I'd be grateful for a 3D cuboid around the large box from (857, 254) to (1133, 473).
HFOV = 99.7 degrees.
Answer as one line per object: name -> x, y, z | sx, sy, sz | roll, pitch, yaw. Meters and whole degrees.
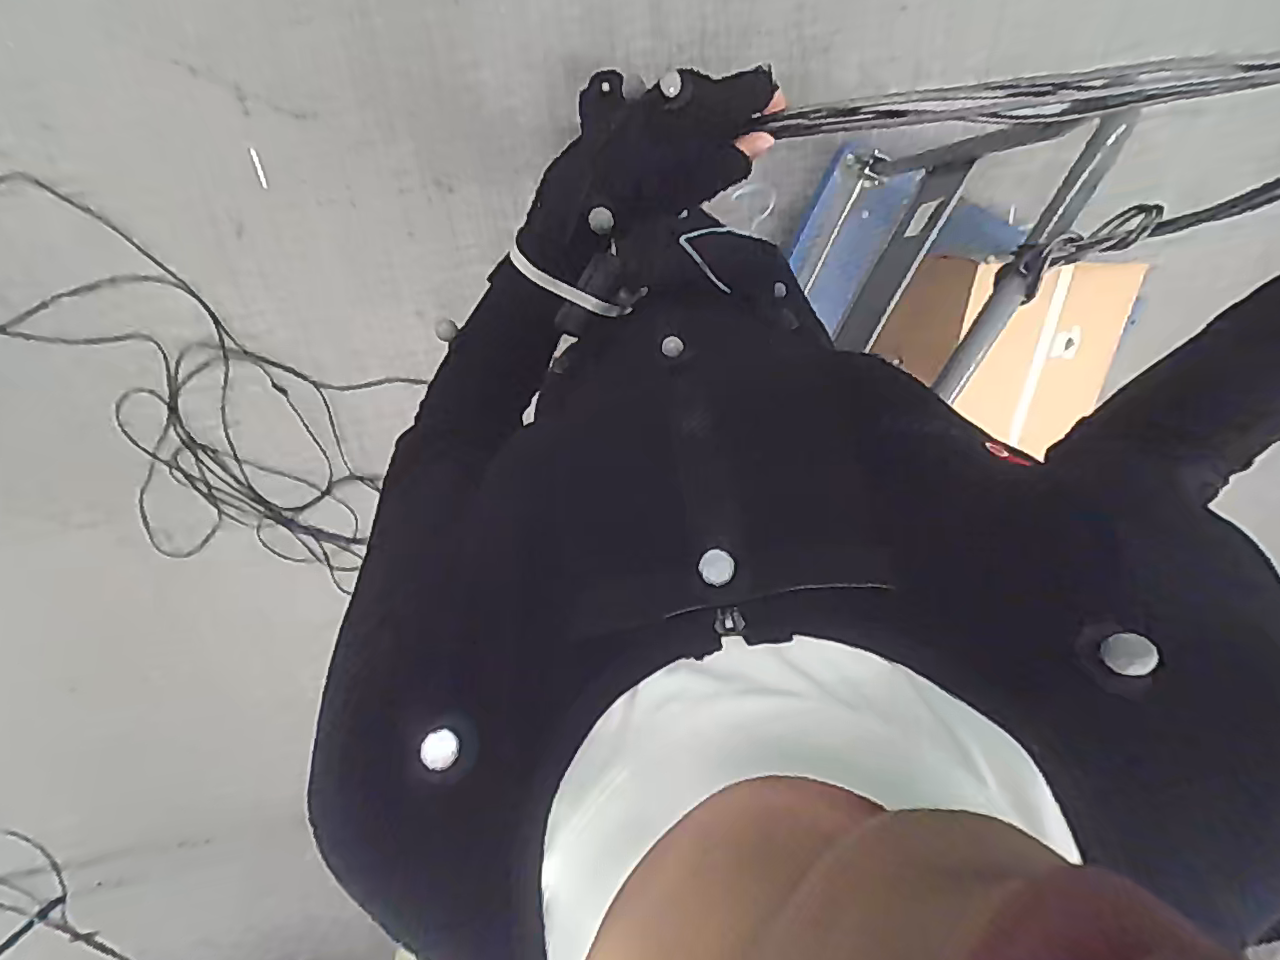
large box -> 0.700, -0.256, 1.147 | 0.320, 0.320, 0.408 | -1, 113, -6
